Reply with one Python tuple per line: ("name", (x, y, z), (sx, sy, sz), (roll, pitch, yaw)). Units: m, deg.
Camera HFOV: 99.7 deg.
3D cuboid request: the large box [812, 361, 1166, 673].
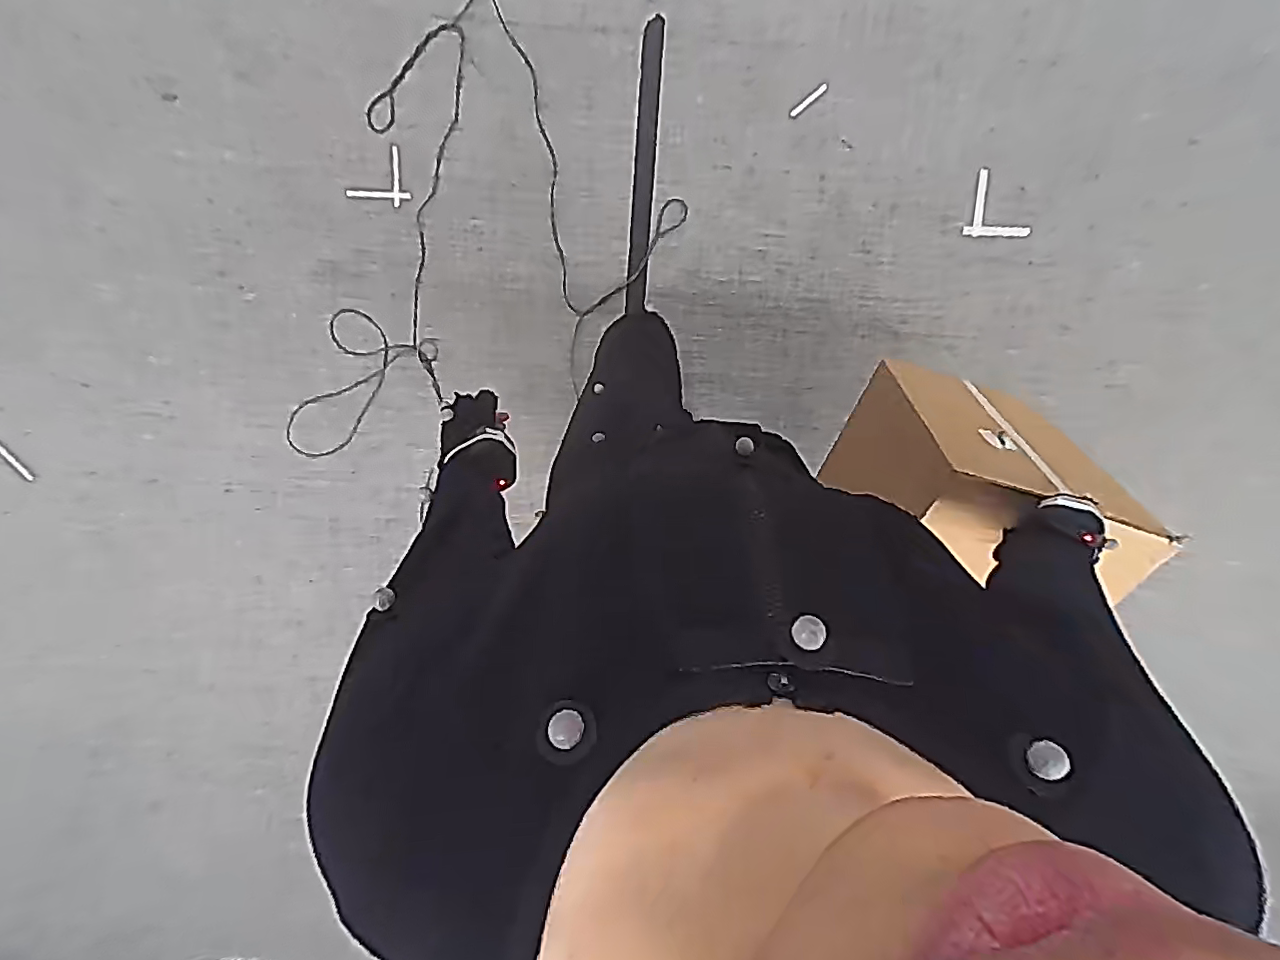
("large box", (0.533, 0.048, 0.947), (0.320, 0.408, 0.320), (17, 126, -2))
